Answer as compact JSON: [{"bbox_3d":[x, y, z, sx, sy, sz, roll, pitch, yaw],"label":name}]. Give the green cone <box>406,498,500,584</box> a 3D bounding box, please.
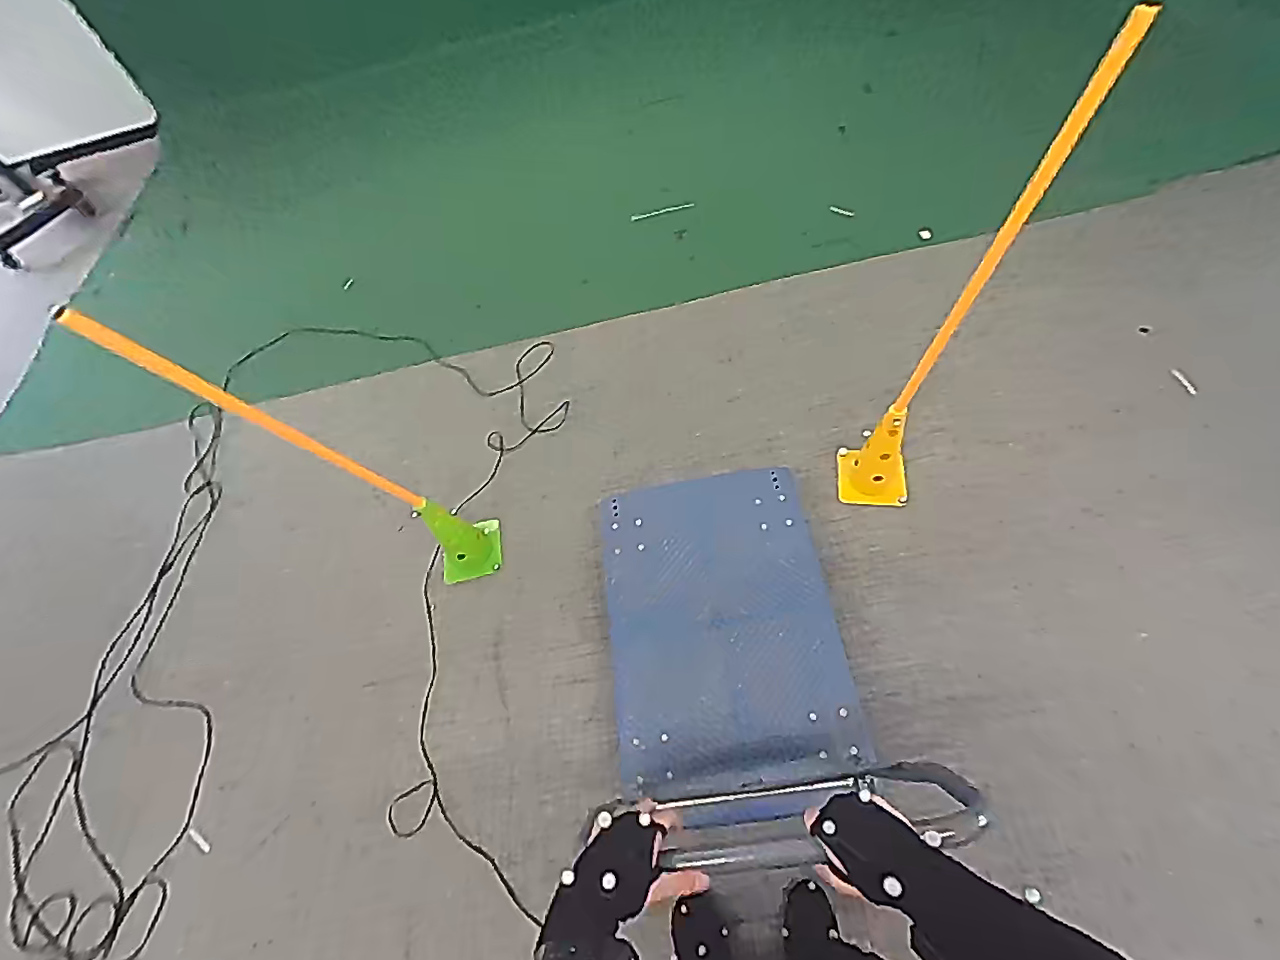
[{"bbox_3d":[-0.602,0.152,1.672,0.202,0.368,0.200,-16,58,3],"label":"green cone"}]
